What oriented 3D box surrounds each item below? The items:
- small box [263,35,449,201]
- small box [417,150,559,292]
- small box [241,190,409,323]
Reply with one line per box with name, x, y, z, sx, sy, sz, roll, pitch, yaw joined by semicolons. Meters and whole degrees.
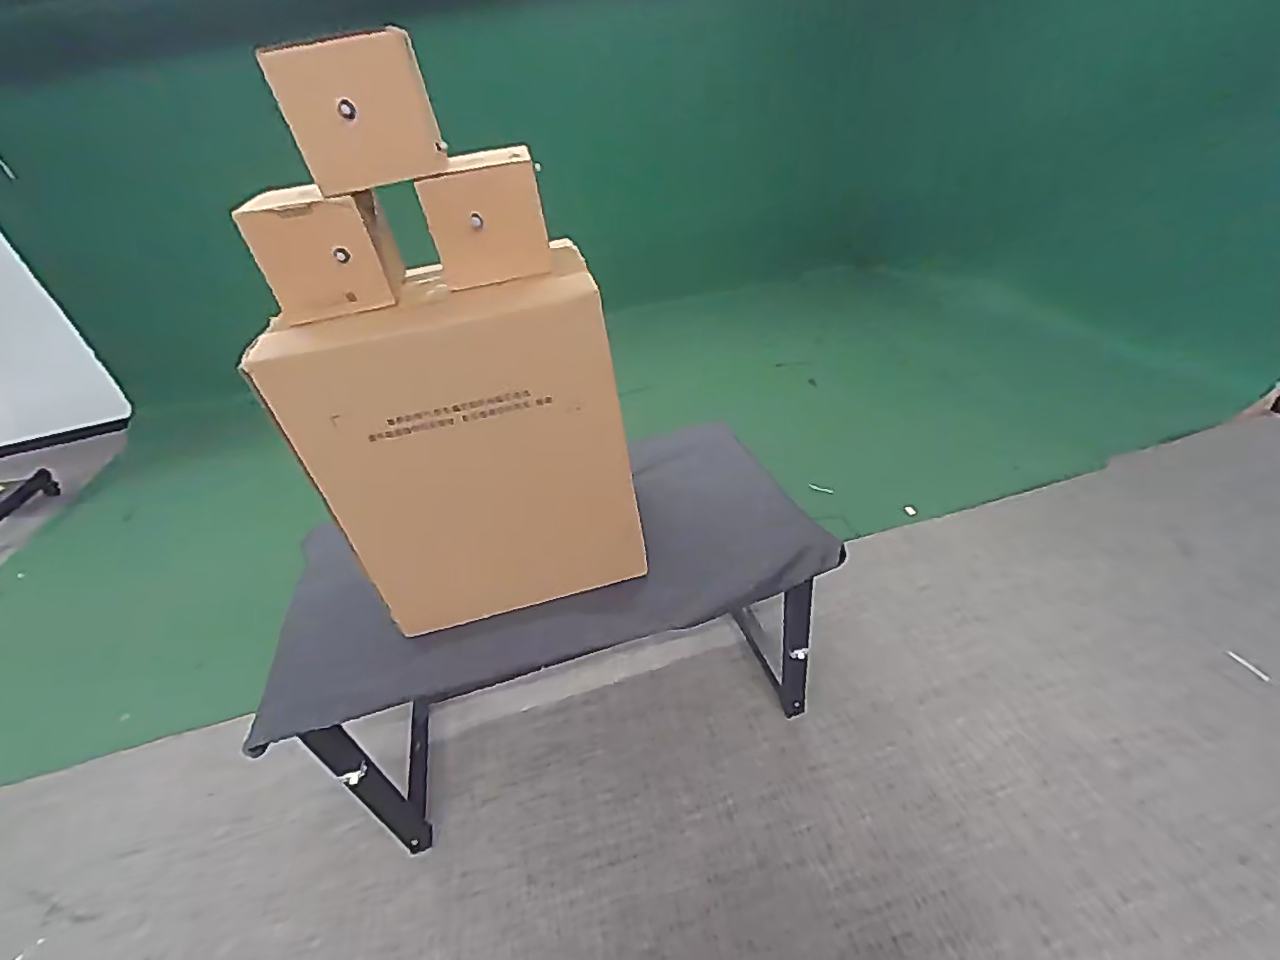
small box;-0.393;-0.525;0.790;0.179;0.176;0.168;-16;39;-5
small box;-0.246;-0.431;0.905;0.179;0.176;0.168;-14;39;-4
small box;-0.493;-0.367;0.880;0.168;0.176;0.179;-13;37;-7
